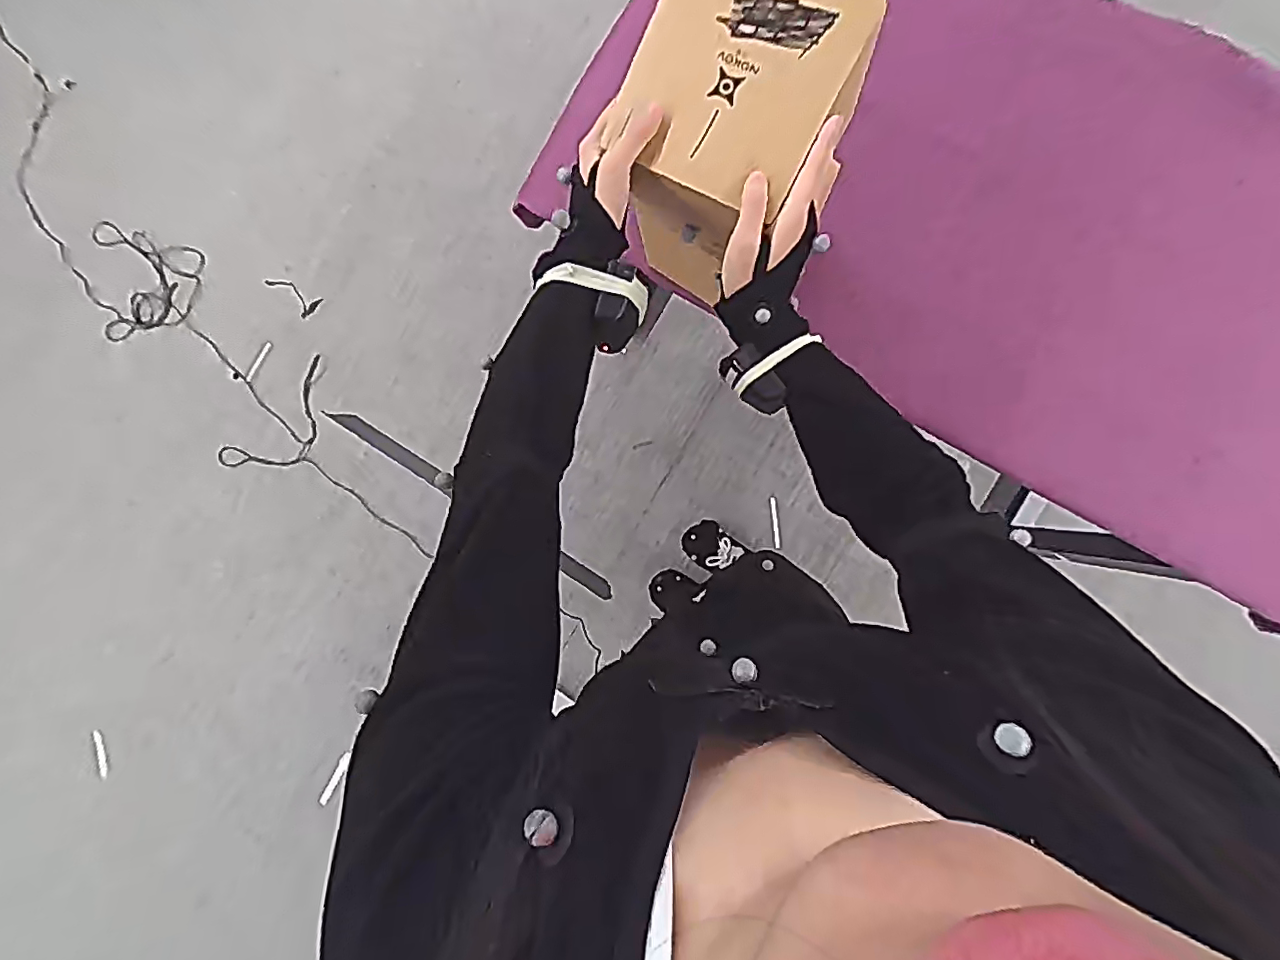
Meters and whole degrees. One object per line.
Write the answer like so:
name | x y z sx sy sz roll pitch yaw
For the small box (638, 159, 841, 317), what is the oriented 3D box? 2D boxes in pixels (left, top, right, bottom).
small box | 0.121 -0.334 0.697 0.179 0.176 0.168 36 92 7

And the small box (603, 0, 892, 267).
small box | 0.092 -0.327 0.496 0.168 0.176 0.179 29 104 7
